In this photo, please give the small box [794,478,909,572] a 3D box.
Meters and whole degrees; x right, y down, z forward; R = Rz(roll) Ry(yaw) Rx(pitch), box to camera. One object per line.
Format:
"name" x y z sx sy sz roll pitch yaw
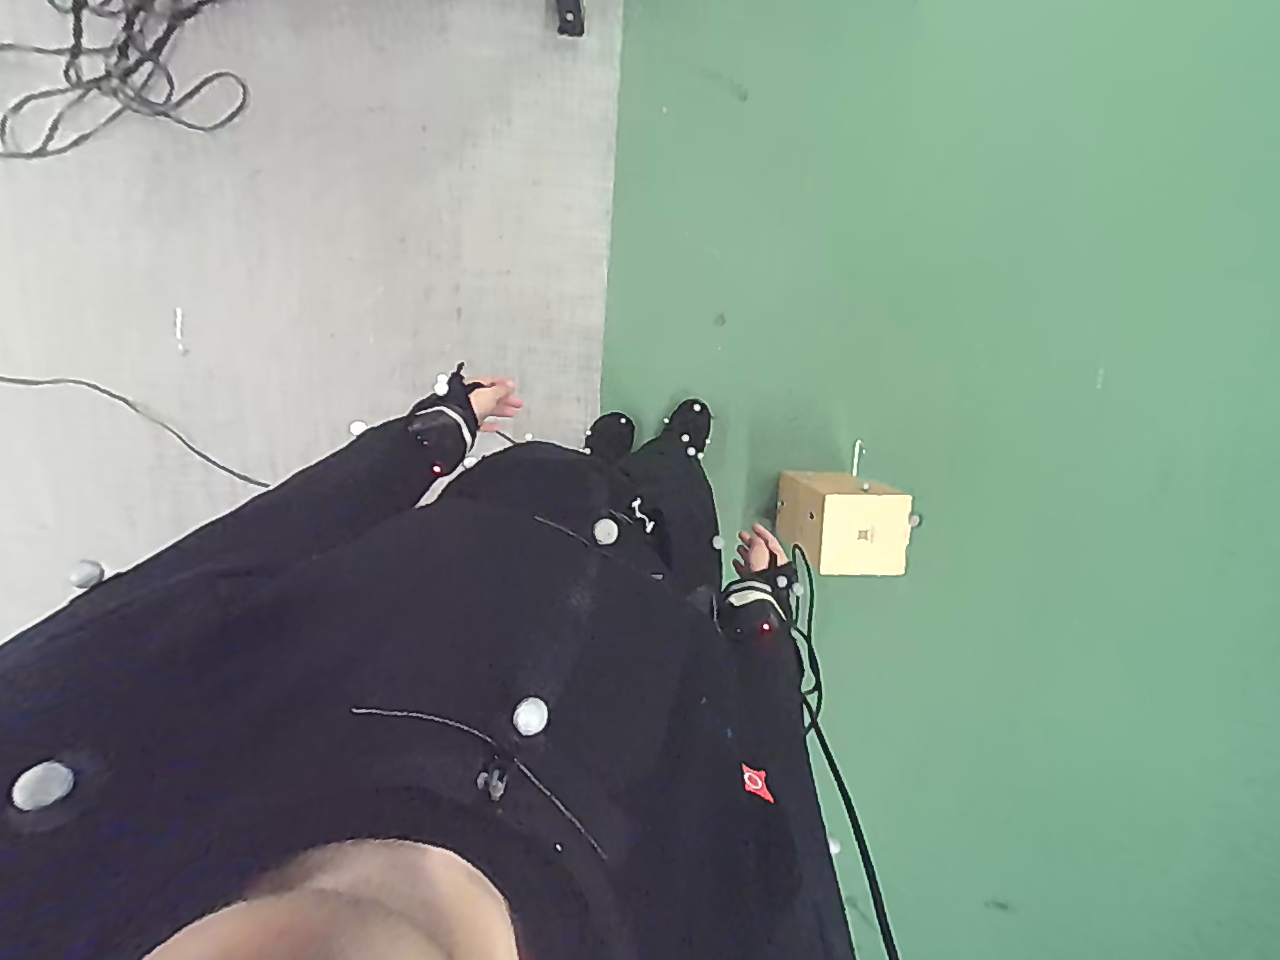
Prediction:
"small box" 0.439 0.091 1.152 0.179 0.176 0.168 0 100 -3
